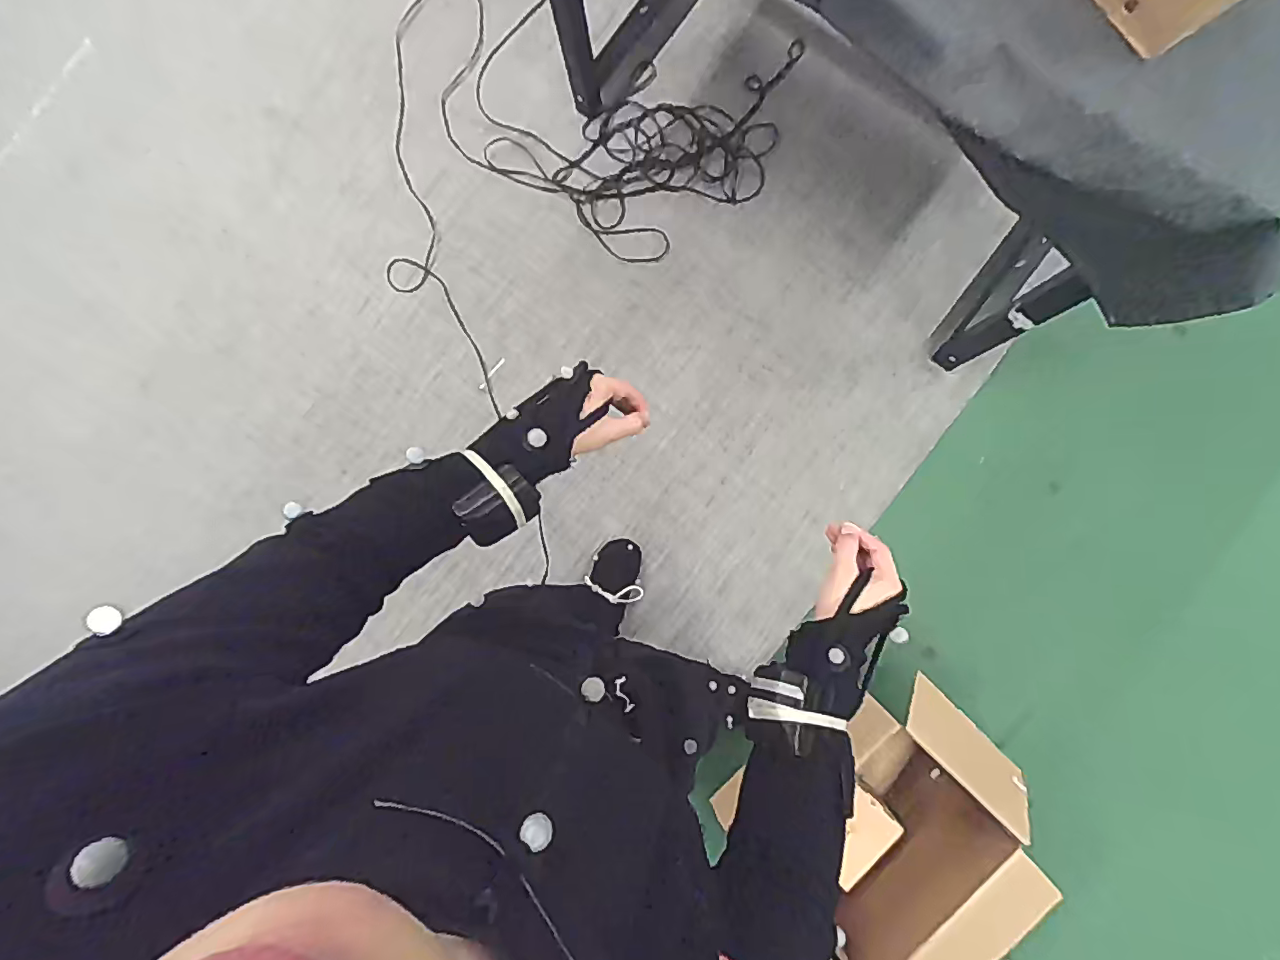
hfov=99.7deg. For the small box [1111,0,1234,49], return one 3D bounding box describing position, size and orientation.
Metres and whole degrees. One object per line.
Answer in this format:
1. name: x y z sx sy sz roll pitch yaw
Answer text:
1. small box: 0.601 -0.598 0.542 0.179 0.176 0.168 -34 86 0
